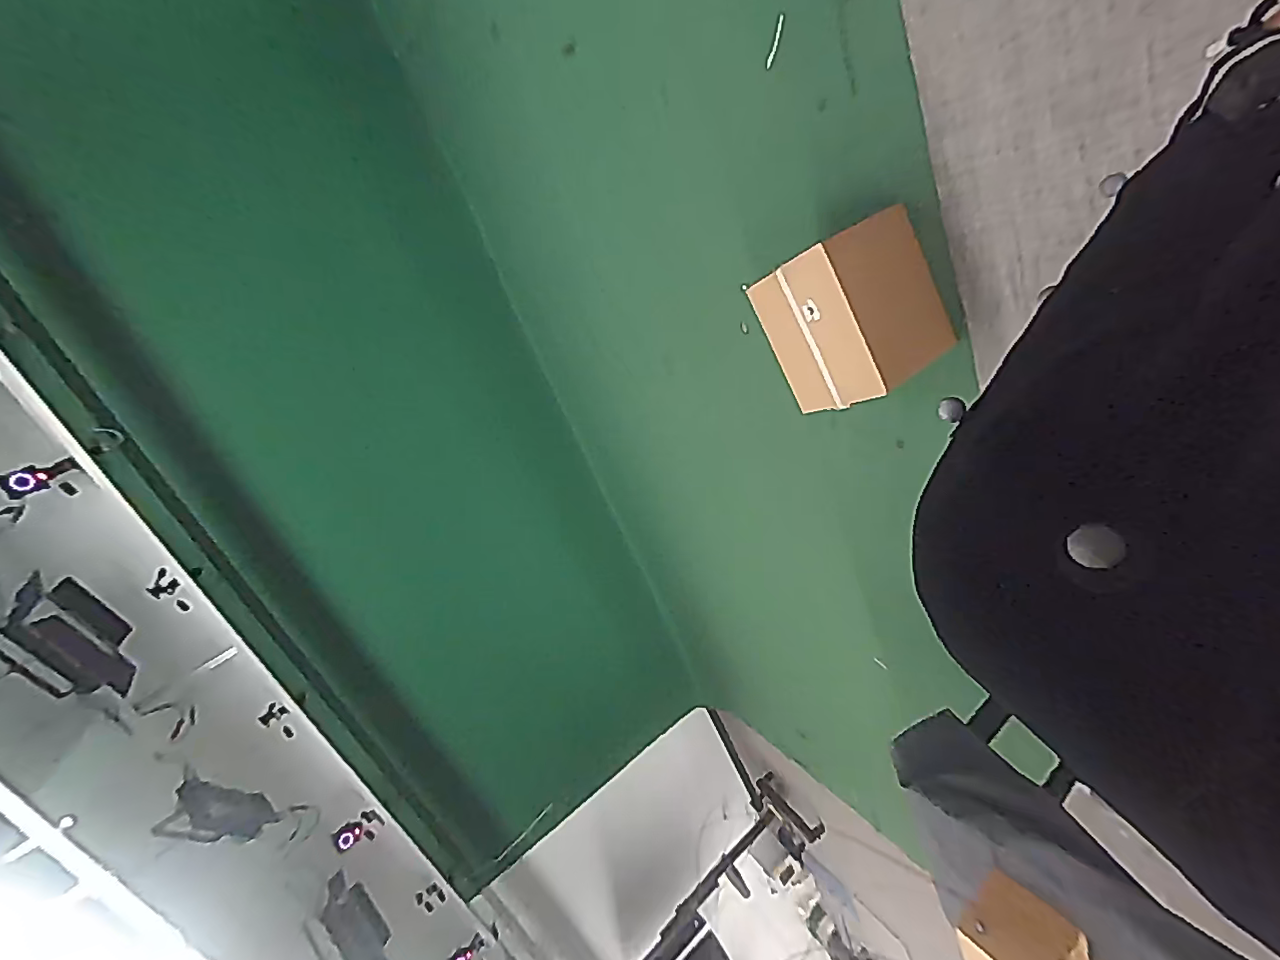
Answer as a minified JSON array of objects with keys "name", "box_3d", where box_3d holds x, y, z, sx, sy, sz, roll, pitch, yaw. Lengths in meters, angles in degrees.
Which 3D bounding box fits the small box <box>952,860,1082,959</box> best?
[{"name":"small box","box_3d":[0.815,0.979,1.163,0.179,0.176,0.168,18,137,59]}]
